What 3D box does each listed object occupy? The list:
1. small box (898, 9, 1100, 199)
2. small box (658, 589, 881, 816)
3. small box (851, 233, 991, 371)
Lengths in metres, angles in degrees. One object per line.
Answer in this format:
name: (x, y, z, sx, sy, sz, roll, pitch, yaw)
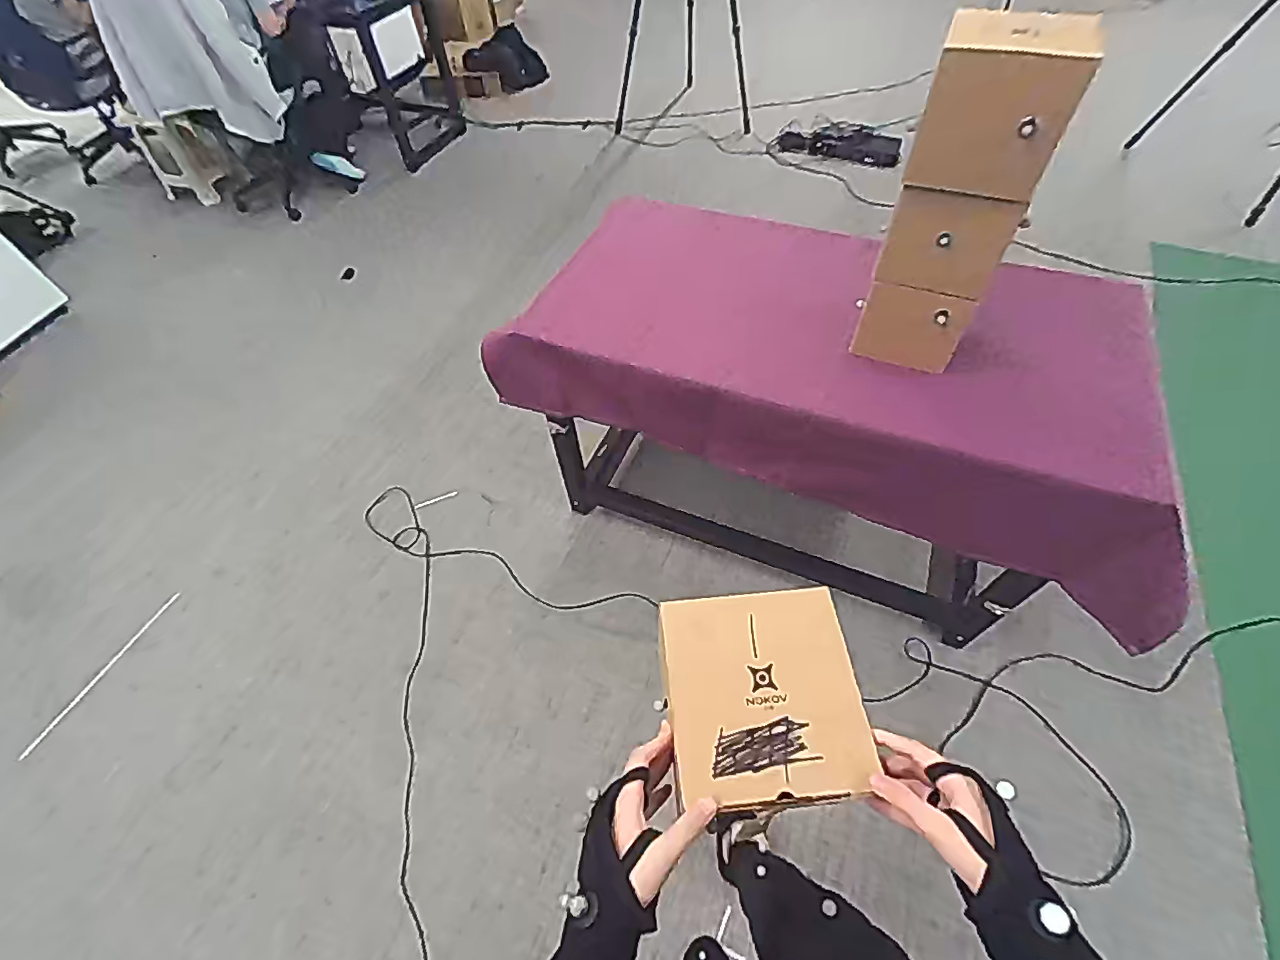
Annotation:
small box: (0.486, -0.516, 0.749, 0.179, 0.176, 0.168, 19, 57, 17)
small box: (0.108, 0.228, 0.540, 0.168, 0.176, 0.179, -4, 55, -2)
small box: (0.521, -0.329, 1.017, 0.179, 0.176, 0.168, 19, 57, 16)
